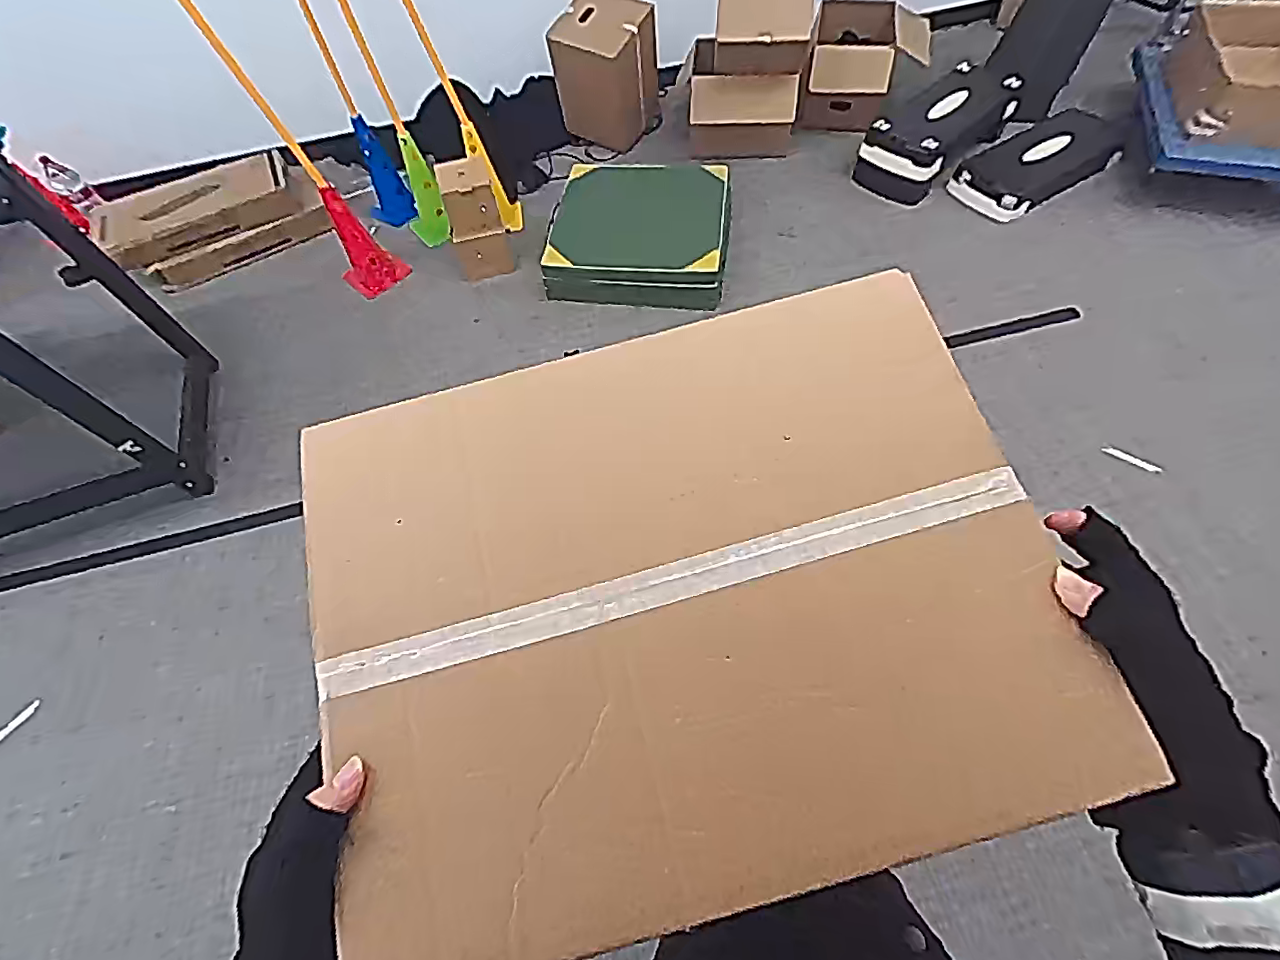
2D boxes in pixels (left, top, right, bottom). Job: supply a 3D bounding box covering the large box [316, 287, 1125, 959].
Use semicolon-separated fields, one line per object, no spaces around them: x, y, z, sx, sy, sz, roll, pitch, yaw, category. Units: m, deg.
0.029;0.107;0.454;0.408;0.320;0.320;-16;71;-1;large box
